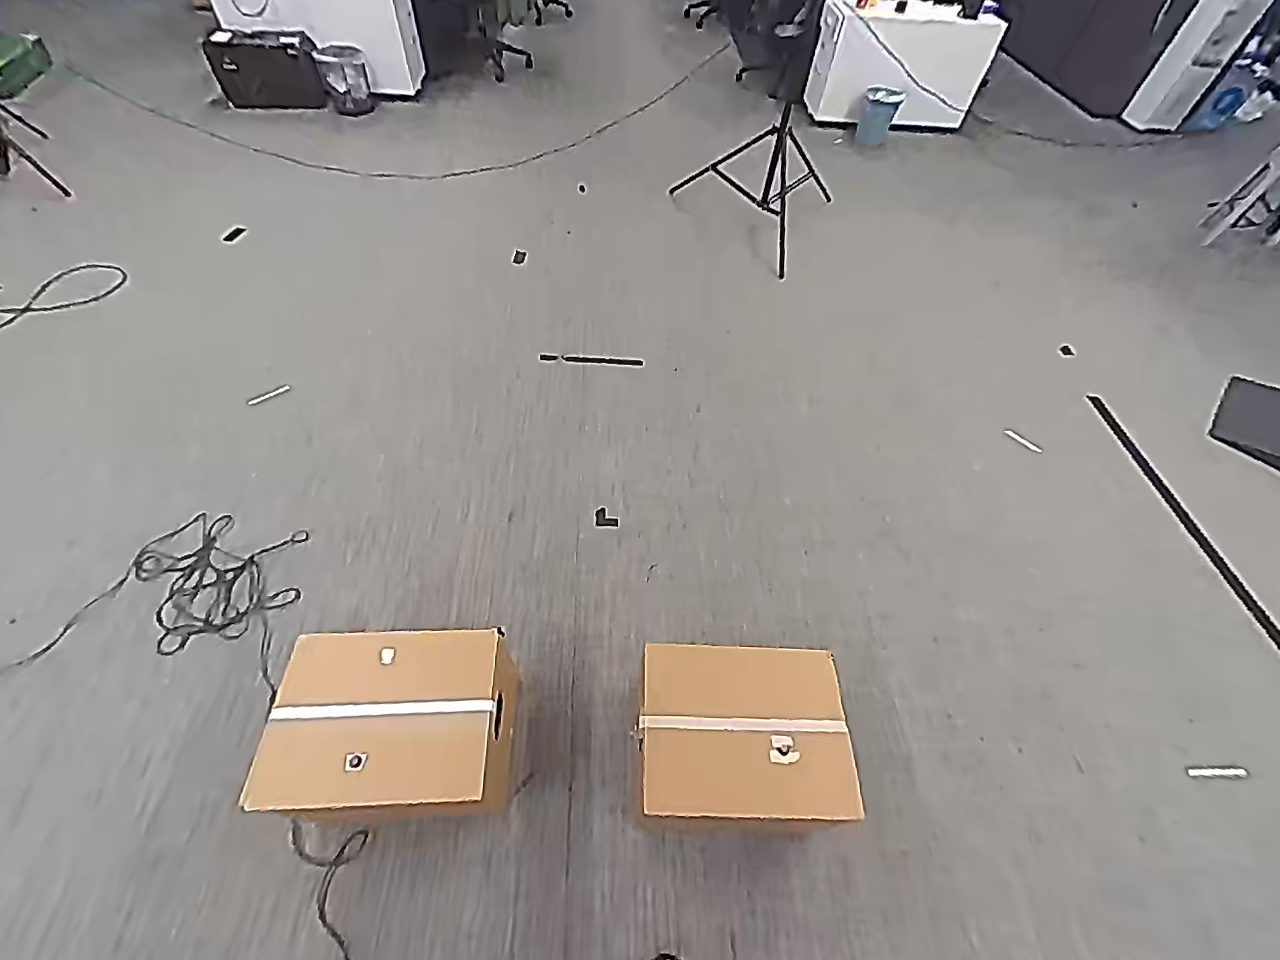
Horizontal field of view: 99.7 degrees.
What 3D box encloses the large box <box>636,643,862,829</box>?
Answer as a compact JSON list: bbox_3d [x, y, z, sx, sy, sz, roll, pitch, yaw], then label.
[{"bbox_3d":[0.199,0.568,1.185,0.408,0.320,0.320,4,53,-3],"label":"large box"}]
